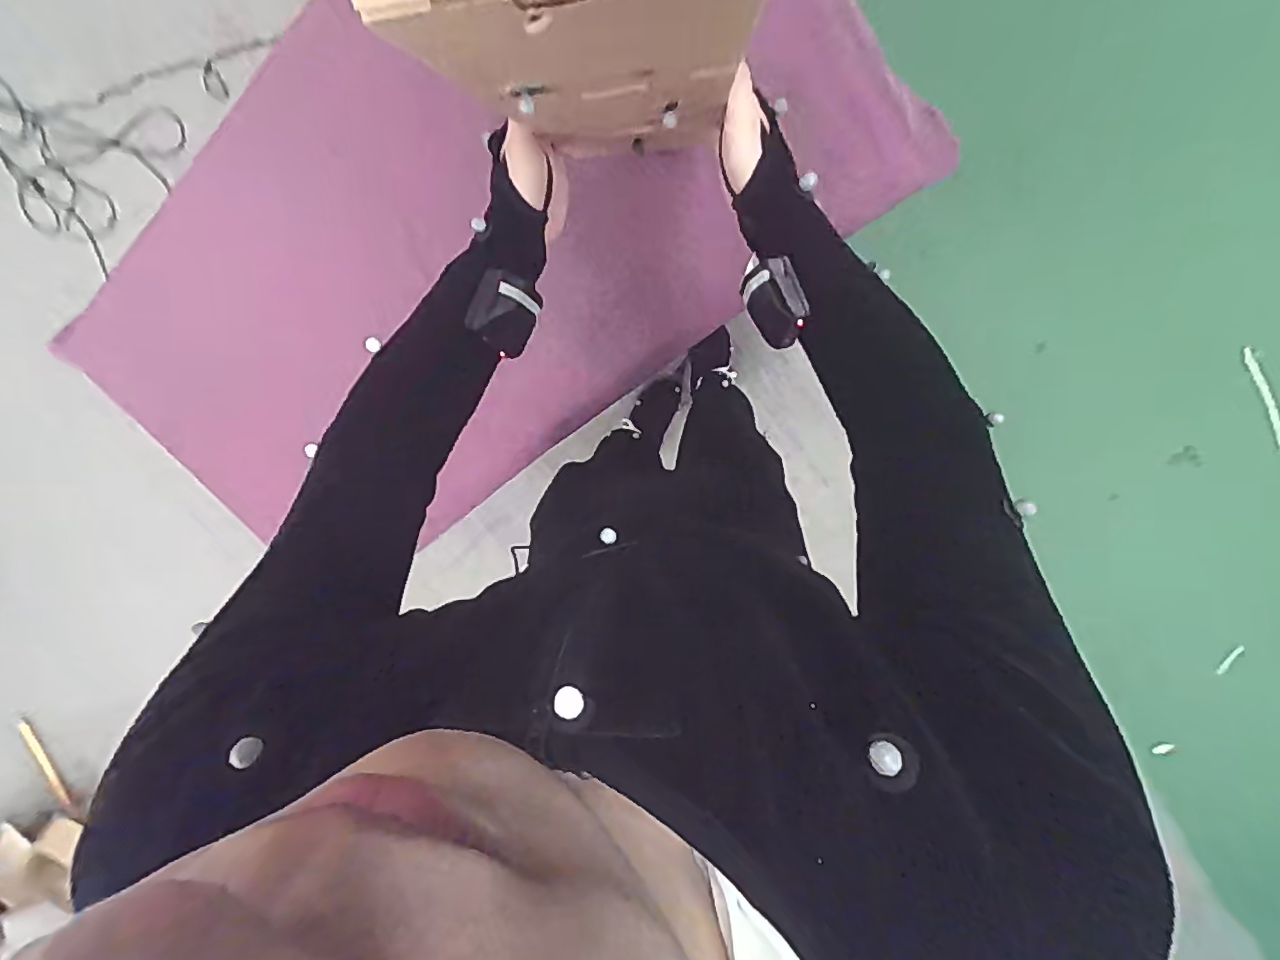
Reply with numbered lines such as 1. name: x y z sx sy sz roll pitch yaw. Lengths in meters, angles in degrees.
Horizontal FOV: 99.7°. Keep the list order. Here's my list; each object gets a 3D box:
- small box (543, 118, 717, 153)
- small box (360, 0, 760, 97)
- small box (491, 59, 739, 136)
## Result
1. small box: -0.008 -0.432 0.534 0.168 0.176 0.179 -2 115 5
2. small box: -0.029 -0.291 0.238 0.168 0.176 0.179 -4 114 5
3. small box: -0.017 -0.360 0.387 0.168 0.176 0.179 -3 115 5
